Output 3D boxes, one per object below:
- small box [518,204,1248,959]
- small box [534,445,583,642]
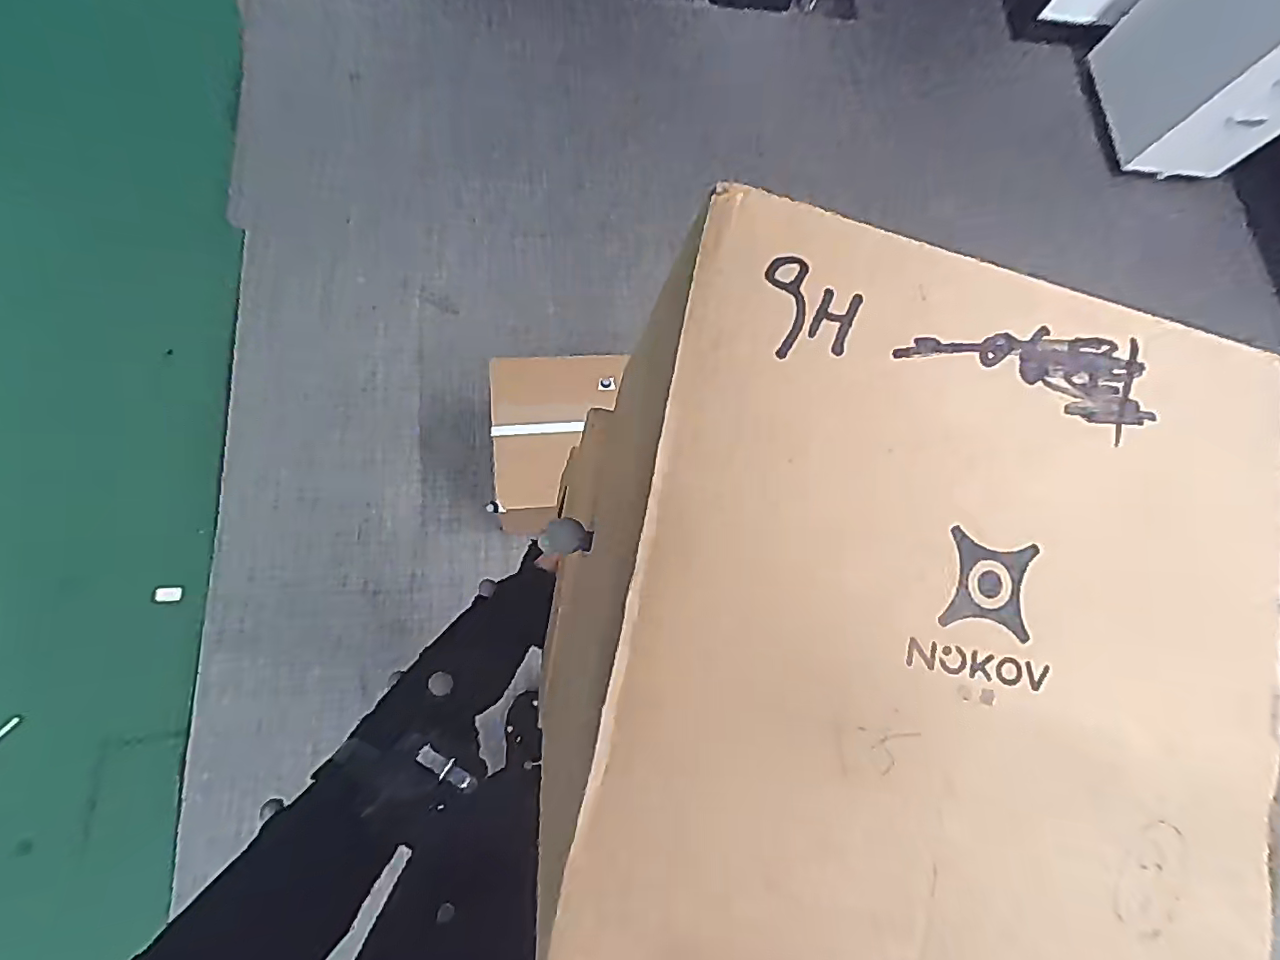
[{"bbox_3d":[0.059,0.040,0.212,0.168,0.176,0.179,13,84,-8],"label":"small box"},{"bbox_3d":[-0.002,0.073,0.531,0.179,0.176,0.168,11,83,-10],"label":"small box"}]
